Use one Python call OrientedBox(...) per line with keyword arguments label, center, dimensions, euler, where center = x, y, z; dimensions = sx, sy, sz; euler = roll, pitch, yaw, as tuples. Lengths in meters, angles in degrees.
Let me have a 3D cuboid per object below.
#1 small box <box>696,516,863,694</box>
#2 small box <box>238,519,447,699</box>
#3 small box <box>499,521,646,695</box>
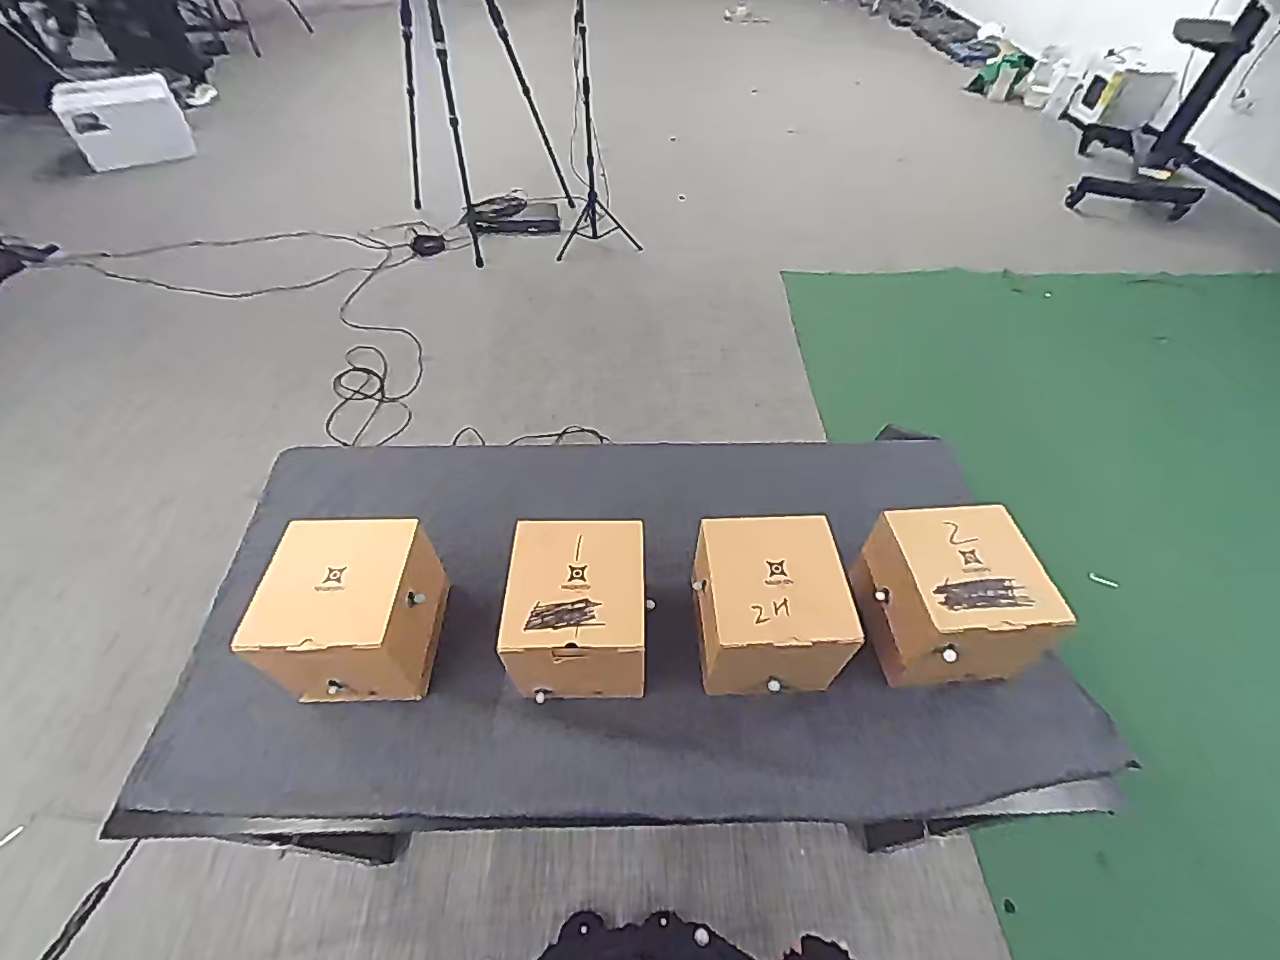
OrientedBox(label="small box", center=(0.167, 0.167, 0.717), dimensions=(0.168, 0.176, 0.179), euler=(-2, 51, -1))
OrientedBox(label="small box", center=(-0.364, 0.169, 0.706), dimensions=(0.168, 0.176, 0.179), euler=(0, 50, -2))
OrientedBox(label="small box", center=(-0.075, 0.171, 0.710), dimensions=(0.168, 0.176, 0.179), euler=(0, 50, -1))
